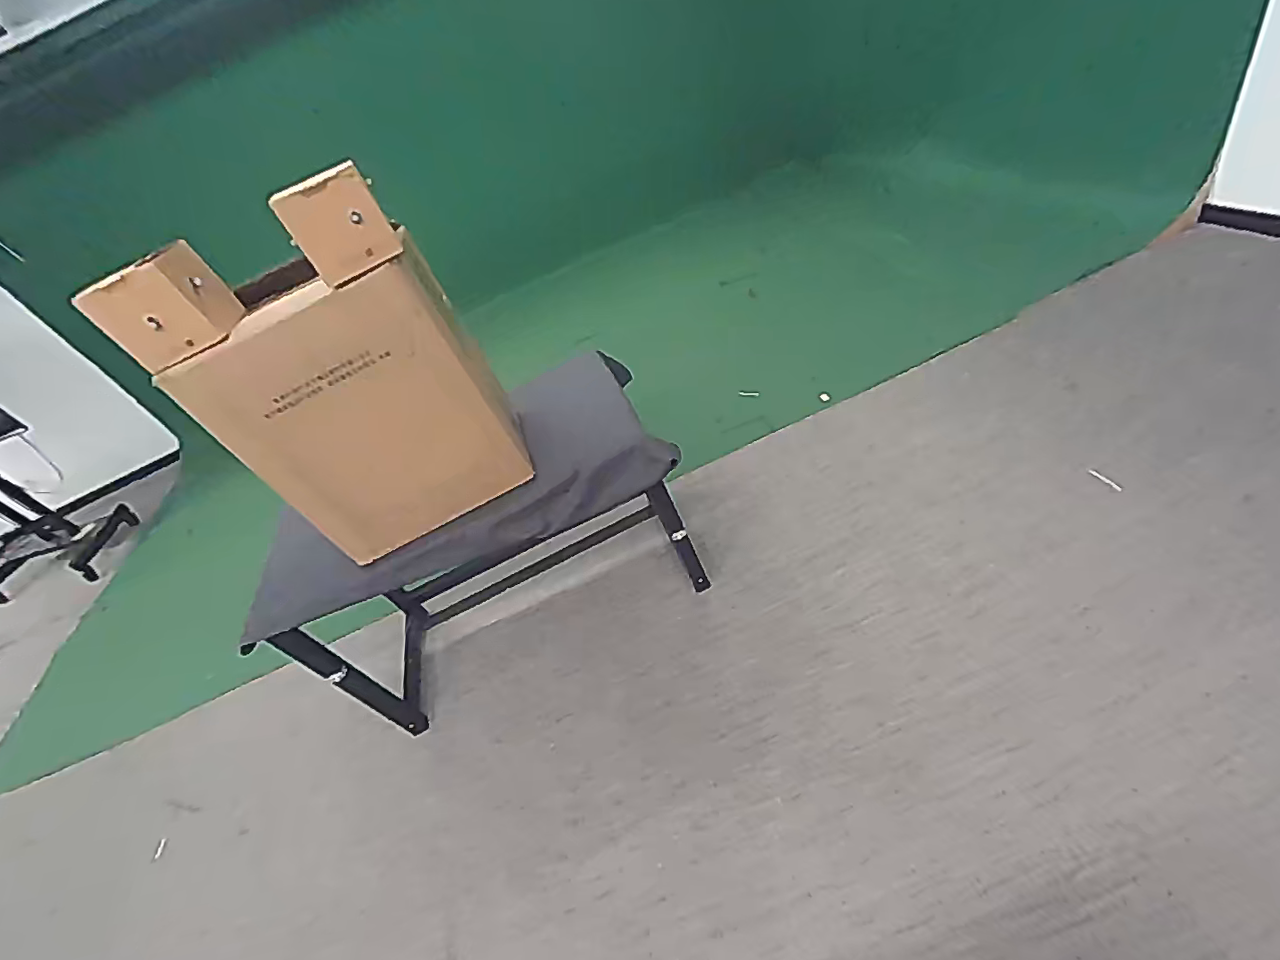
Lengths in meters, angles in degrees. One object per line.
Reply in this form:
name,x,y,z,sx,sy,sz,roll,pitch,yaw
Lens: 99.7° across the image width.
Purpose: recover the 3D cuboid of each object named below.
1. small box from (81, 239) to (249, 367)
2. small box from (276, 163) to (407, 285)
small box,-0.944,-0.353,1.098,0.168,0.176,0.179,-27,40,-1
small box,-0.595,-0.517,1.096,0.168,0.176,0.179,-30,39,-9
